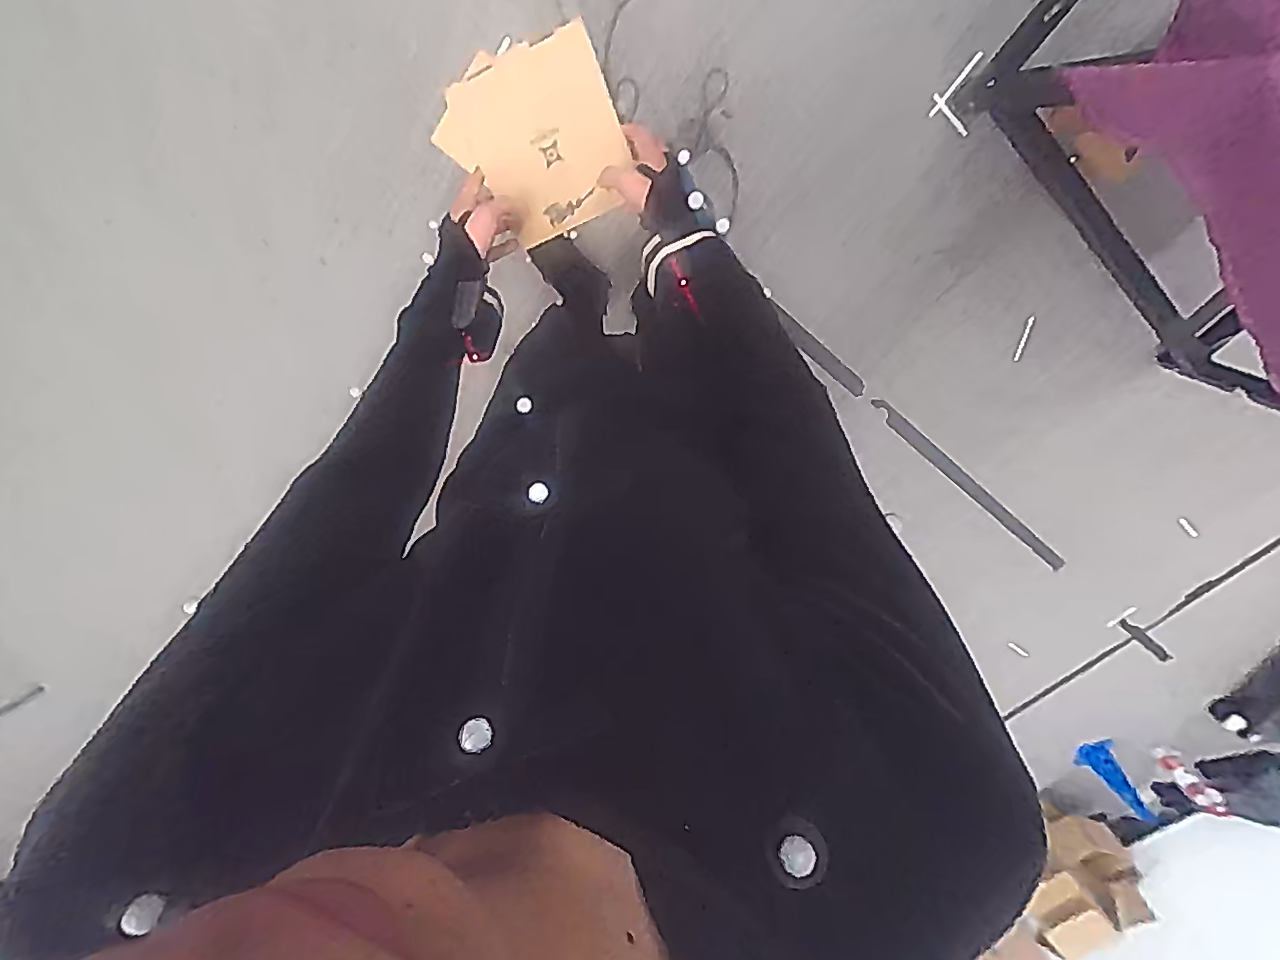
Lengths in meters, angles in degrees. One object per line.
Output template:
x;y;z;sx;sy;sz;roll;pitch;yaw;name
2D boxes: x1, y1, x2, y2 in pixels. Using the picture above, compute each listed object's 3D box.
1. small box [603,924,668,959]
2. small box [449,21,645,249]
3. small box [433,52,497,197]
-0.013;1.623;1.800;0.168;0.176;0.179;34;113;-25;small box
-0.104;-0.416;0.671;0.168;0.176;0.179;-20;122;10;small box
-0.267;-0.670;1.047;0.168;0.176;0.179;33;113;-23;small box
